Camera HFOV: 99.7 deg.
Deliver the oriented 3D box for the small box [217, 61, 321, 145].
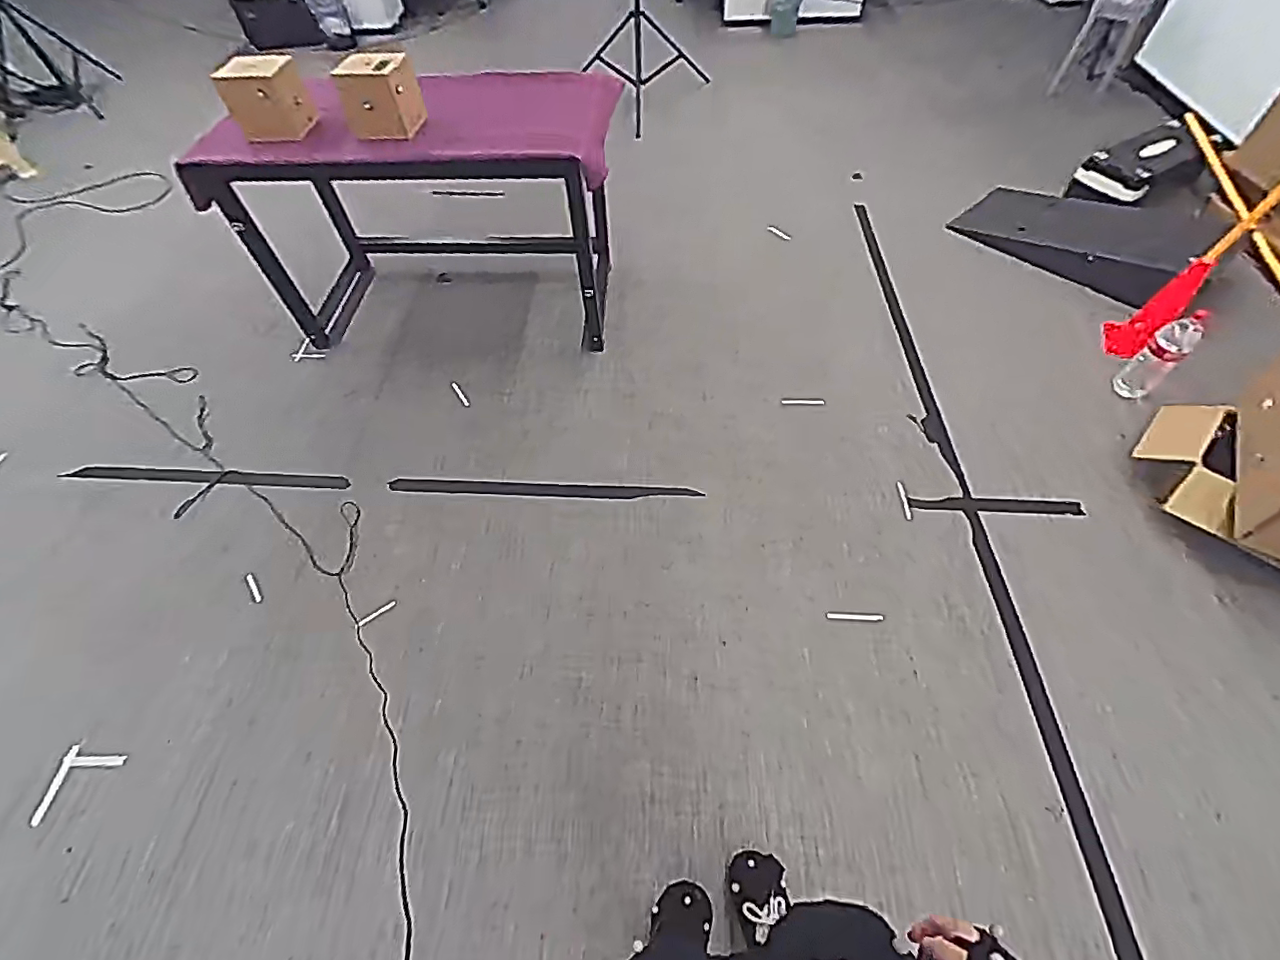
[{"bbox_3d":[-1.107,-1.136,1.634,0.179,0.176,0.168,-1,53,2],"label":"small box"}]
